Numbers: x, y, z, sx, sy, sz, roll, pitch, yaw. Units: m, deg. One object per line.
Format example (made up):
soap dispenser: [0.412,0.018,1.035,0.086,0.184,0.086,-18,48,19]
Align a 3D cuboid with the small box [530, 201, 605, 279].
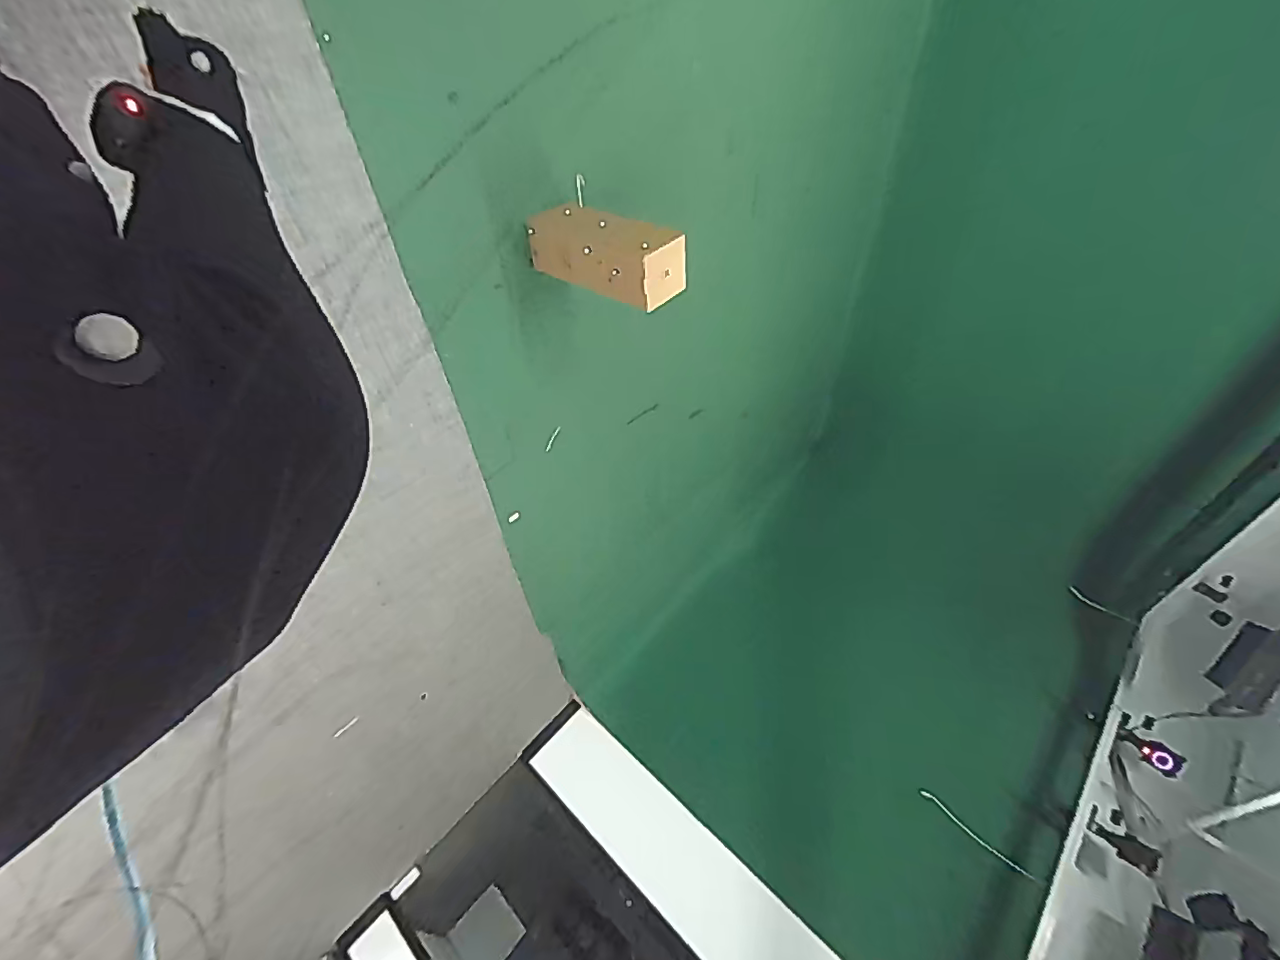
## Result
small box: [-0.232,-0.769,1.724,0.179,0.176,0.168,-39,145,-30]

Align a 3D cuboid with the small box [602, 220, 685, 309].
small box: [0.013,-0.627,1.559,0.179,0.176,0.168,-41,146,-27]
